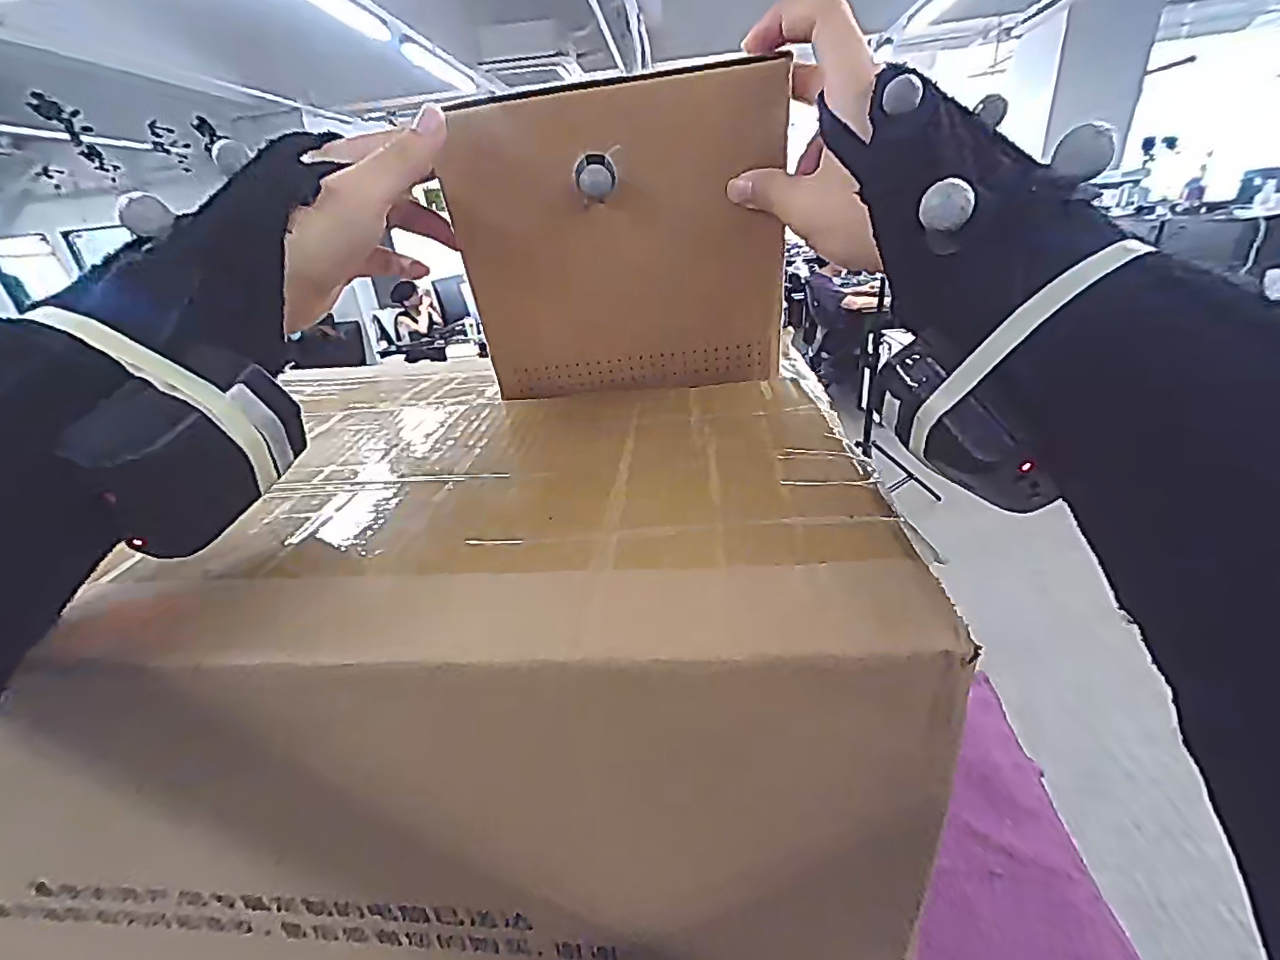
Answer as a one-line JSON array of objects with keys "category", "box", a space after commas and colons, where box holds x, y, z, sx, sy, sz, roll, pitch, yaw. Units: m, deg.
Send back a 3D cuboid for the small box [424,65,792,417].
[{"category": "small box", "box": [-0.007, -0.158, 0.360, 0.179, 0.176, 0.168, -6, 35, 4]}]
